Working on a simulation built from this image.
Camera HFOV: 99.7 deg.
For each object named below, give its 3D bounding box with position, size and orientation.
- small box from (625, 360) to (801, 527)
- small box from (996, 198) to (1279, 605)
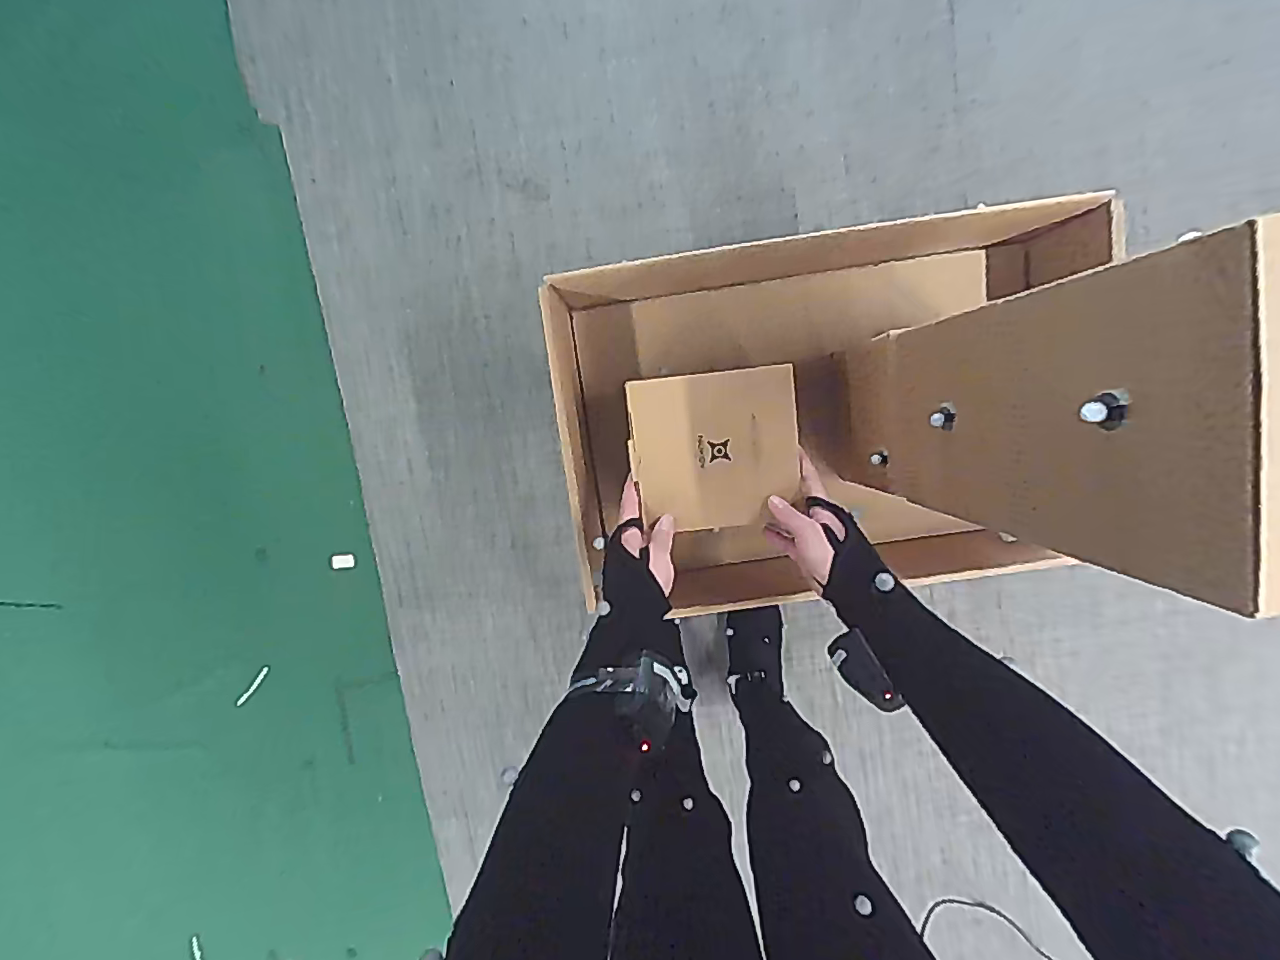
[{"bbox_3d":[0.079,-0.045,0.646,0.179,0.176,0.168,-6,97,1],"label":"small box"},{"bbox_3d":[0.338,-0.048,0.308,0.168,0.176,0.179,-8,96,2],"label":"small box"}]
